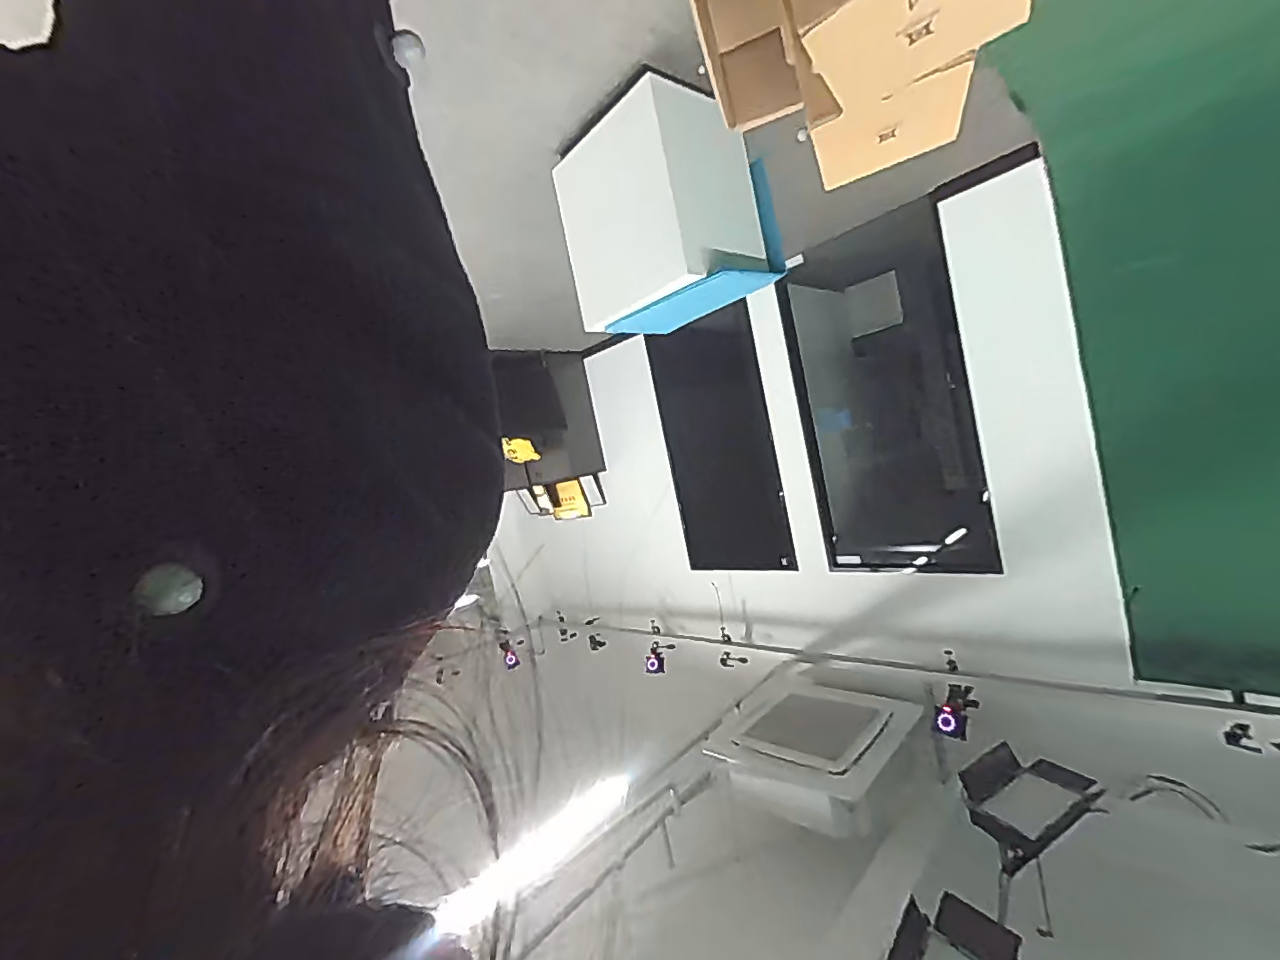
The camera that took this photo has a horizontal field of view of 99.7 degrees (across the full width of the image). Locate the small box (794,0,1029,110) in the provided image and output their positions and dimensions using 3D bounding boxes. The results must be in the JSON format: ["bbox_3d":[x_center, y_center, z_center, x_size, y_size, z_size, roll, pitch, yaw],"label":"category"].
[{"bbox_3d":[0.225,-0.476,0.464,0.168,0.176,0.179,-12,-178,34],"label":"small box"}]
